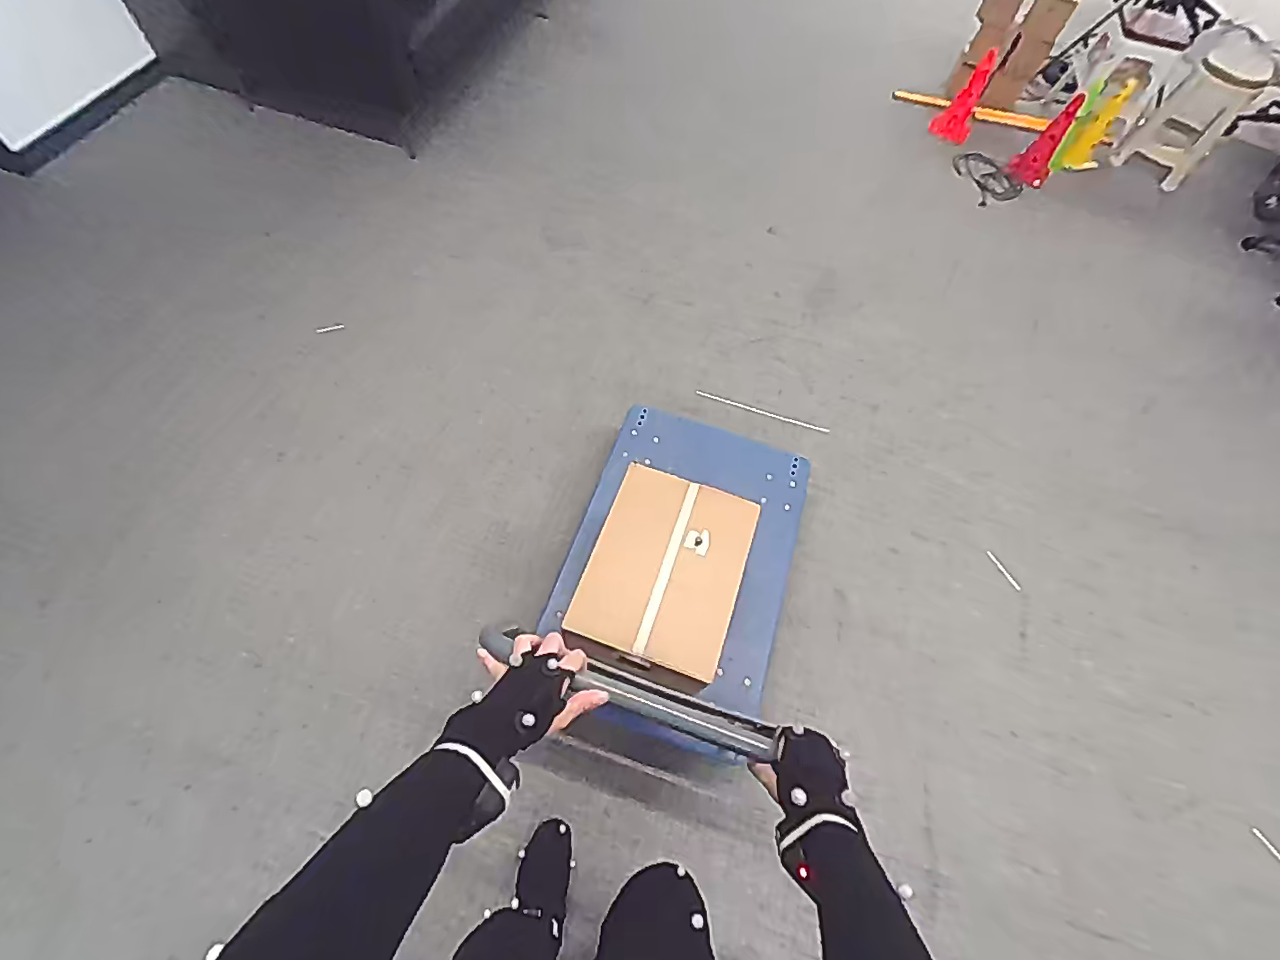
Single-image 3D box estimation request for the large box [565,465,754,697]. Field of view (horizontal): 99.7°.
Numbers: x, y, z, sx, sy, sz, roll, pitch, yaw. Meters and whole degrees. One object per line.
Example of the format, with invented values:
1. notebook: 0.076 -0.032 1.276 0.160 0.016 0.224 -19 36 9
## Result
1. large box: 0.043 0.244 1.268 0.320 0.320 0.408 19 61 5
